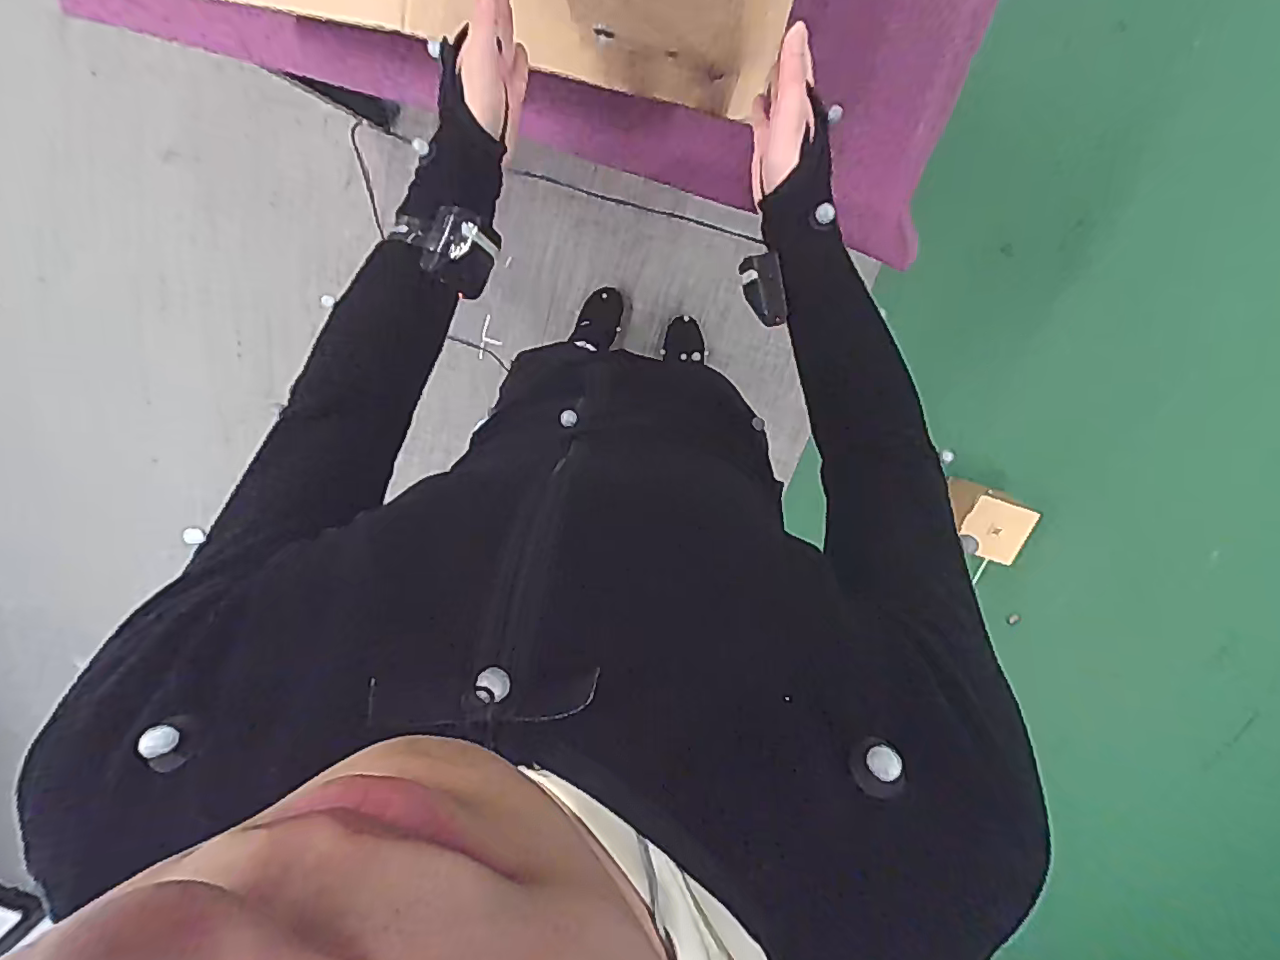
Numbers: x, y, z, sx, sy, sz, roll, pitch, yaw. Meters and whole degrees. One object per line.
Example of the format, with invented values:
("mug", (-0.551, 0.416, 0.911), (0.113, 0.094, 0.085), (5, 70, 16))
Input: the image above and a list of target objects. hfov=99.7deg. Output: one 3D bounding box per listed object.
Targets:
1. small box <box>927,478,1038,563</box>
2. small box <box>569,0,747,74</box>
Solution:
("small box", (0.965, 0.108, 1.541), (0.179, 0.176, 0.168), (17, 108, -1))
("small box", (0.029, -0.498, 0.472), (0.168, 0.176, 0.179), (13, 108, -3))
